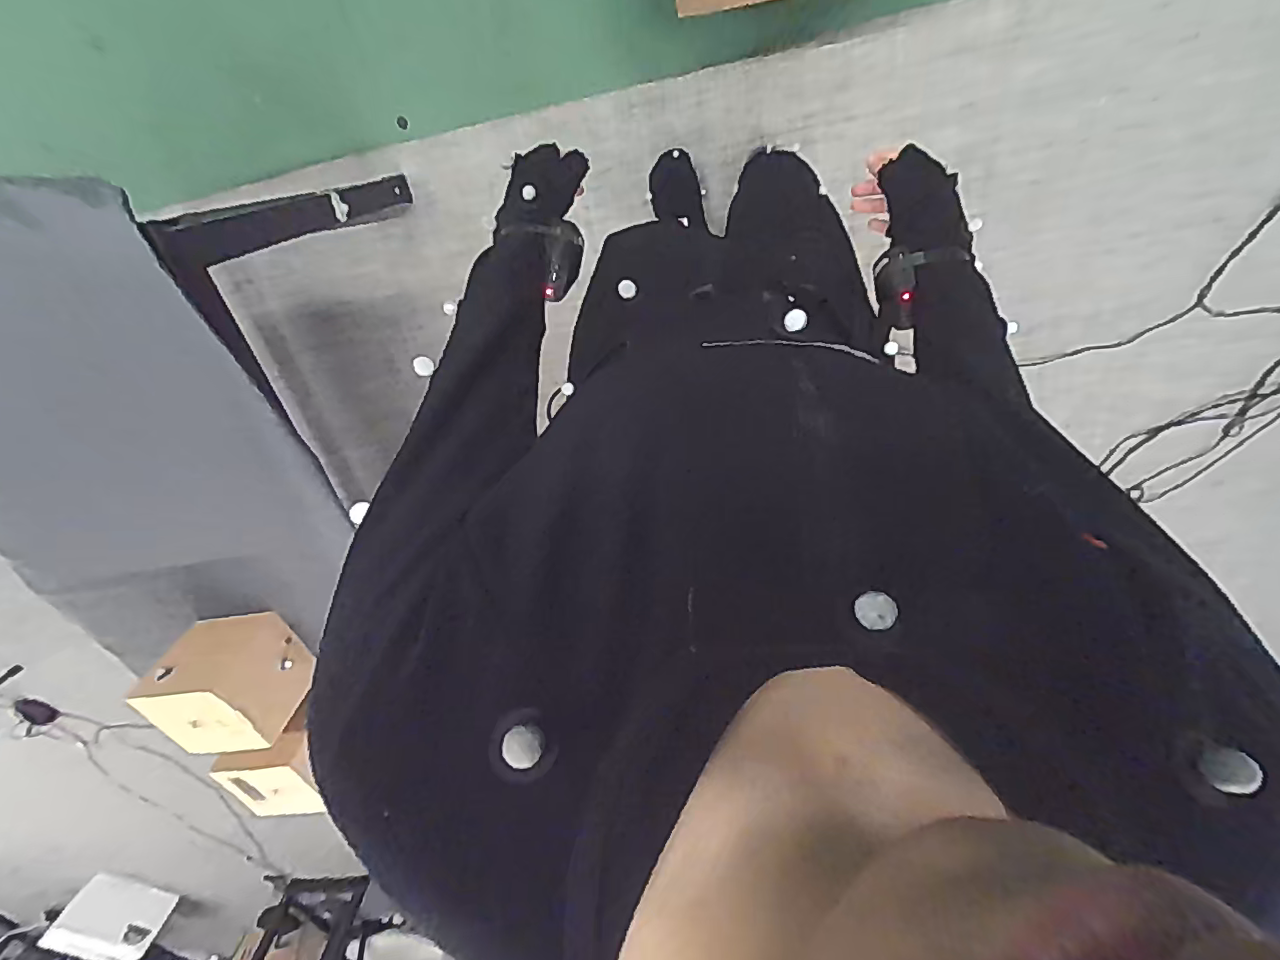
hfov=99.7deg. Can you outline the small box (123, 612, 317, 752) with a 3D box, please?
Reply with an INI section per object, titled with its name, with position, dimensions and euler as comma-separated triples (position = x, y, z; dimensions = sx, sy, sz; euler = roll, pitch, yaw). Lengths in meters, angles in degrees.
[small box]
position = -0.733, 0.359, 0.968
dimensions = 0.179, 0.176, 0.168
euler = -9, 123, 10
